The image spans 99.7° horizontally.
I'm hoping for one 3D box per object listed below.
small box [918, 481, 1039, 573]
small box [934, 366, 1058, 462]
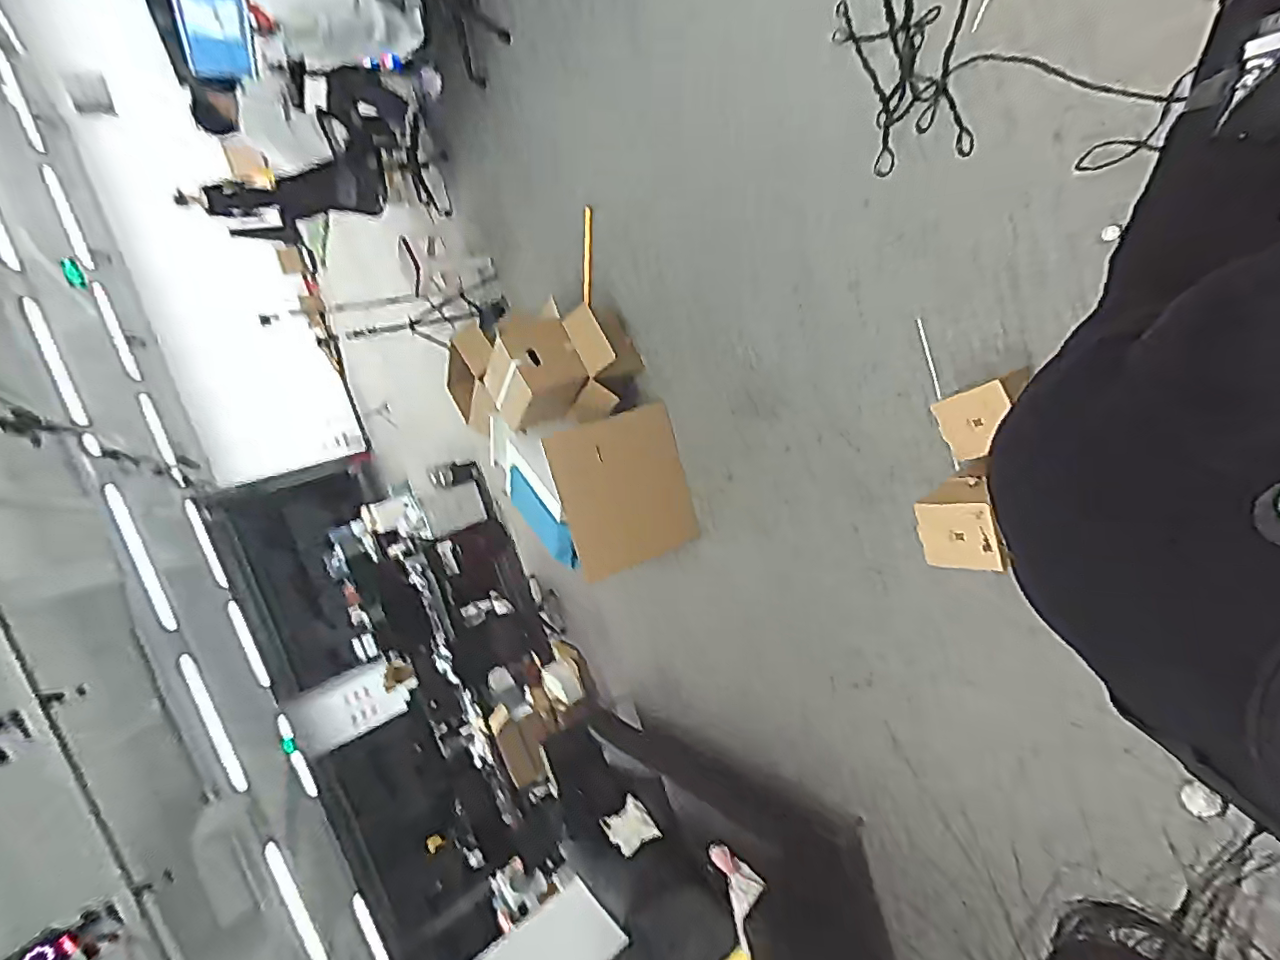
[{"bbox_3d":[0.810,0.106,1.297,0.179,0.176,0.168,-5,105,59],"label":"small box"},{"bbox_3d":[0.881,-0.162,1.340,0.179,0.176,0.168,-26,88,58],"label":"small box"}]
